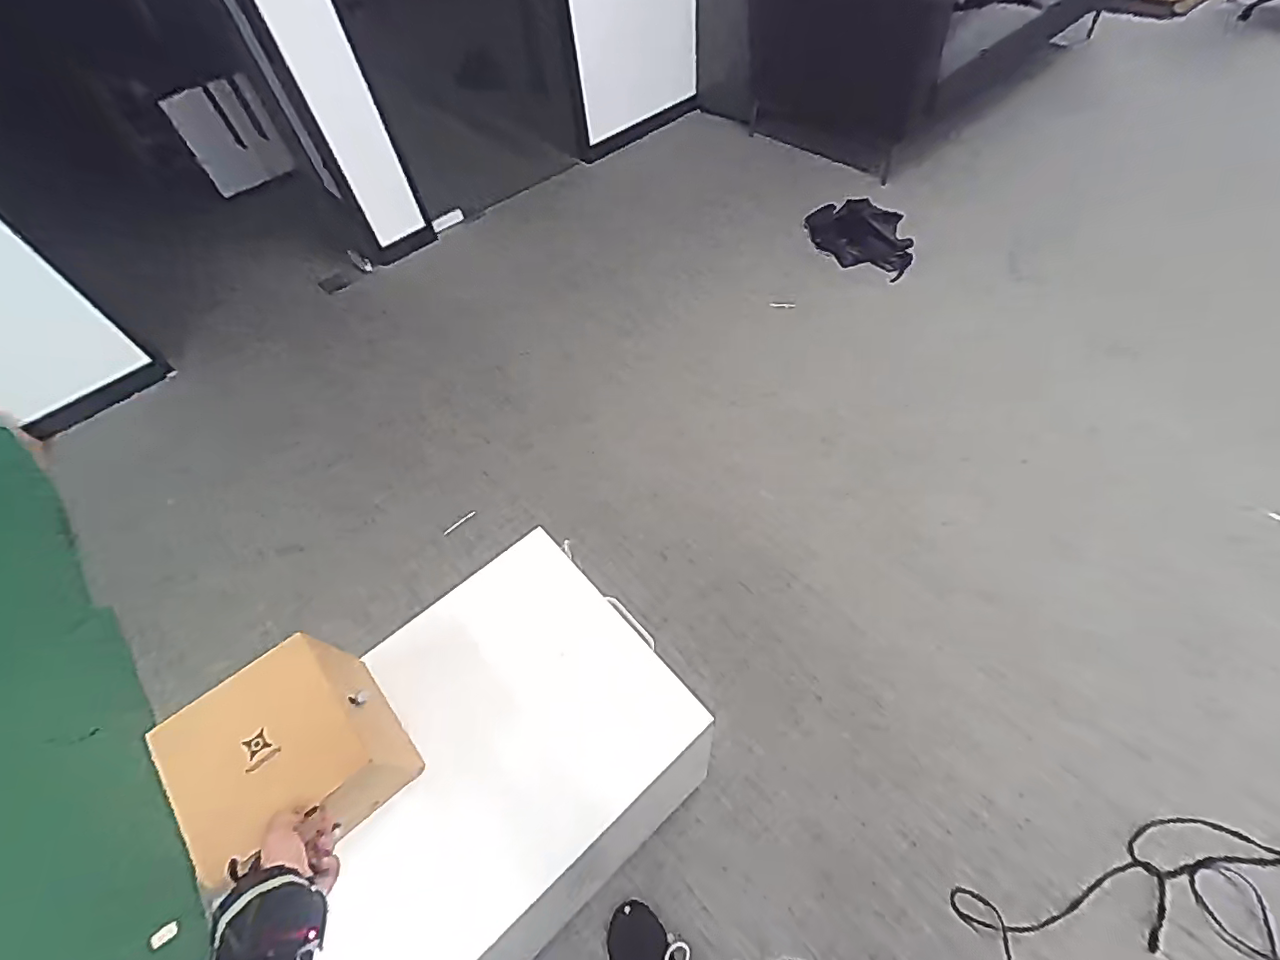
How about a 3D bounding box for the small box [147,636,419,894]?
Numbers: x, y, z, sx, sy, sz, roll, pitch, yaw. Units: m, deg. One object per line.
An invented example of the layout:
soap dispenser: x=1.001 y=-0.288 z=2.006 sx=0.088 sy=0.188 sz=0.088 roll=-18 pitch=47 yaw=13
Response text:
small box: x=-0.384 y=0.313 z=0.610 sx=0.168 sy=0.176 sz=0.179 roll=-36 pitch=69 yaw=-21
